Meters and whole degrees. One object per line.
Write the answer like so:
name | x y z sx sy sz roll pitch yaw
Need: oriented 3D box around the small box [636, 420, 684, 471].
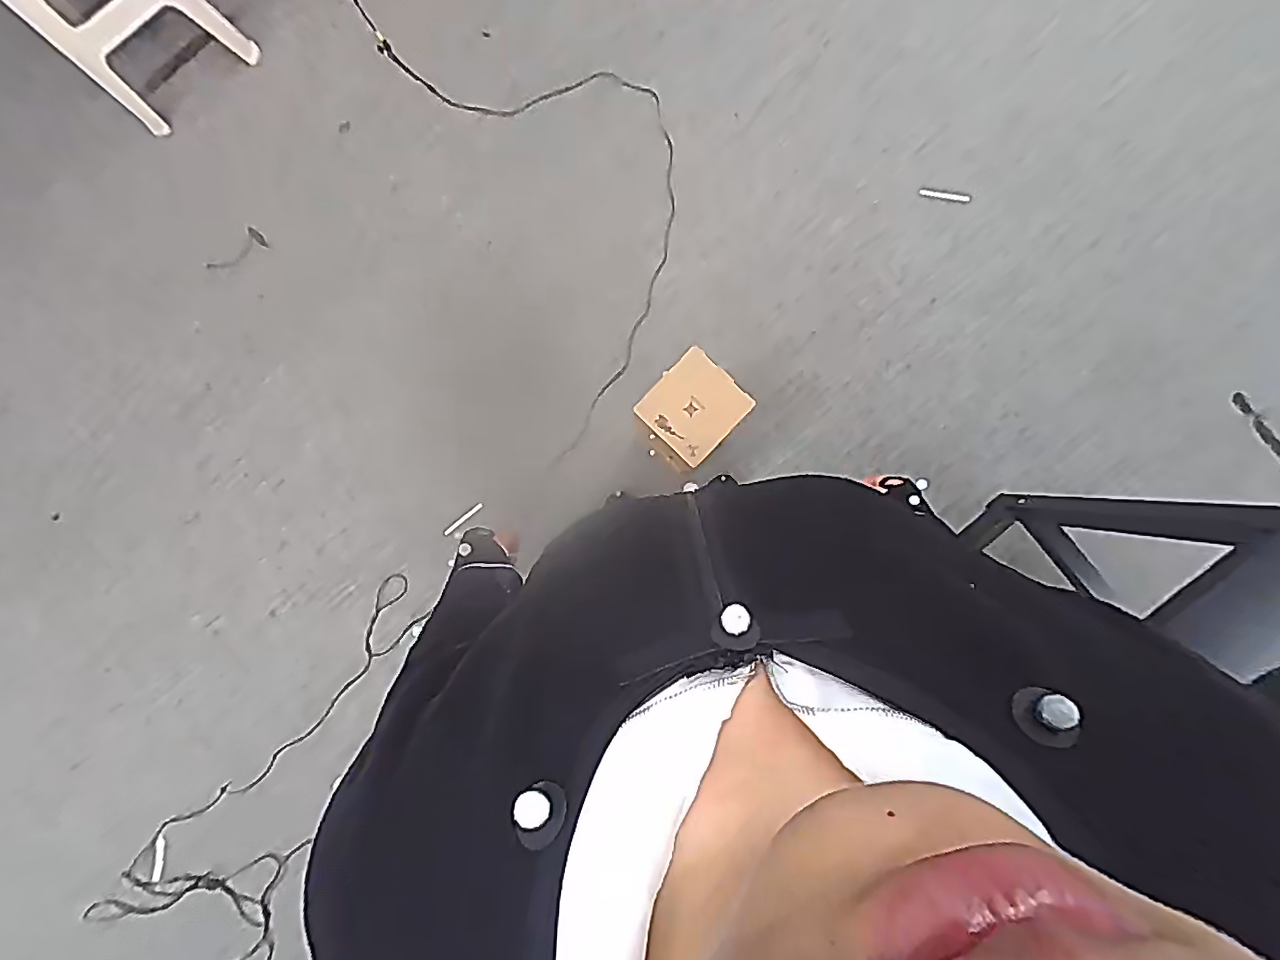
small box | 0.105 -0.140 1.432 0.179 0.176 0.168 -43 89 2

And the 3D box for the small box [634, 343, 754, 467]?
small box | 0.102 -0.144 1.104 0.168 0.176 0.179 44 90 2
